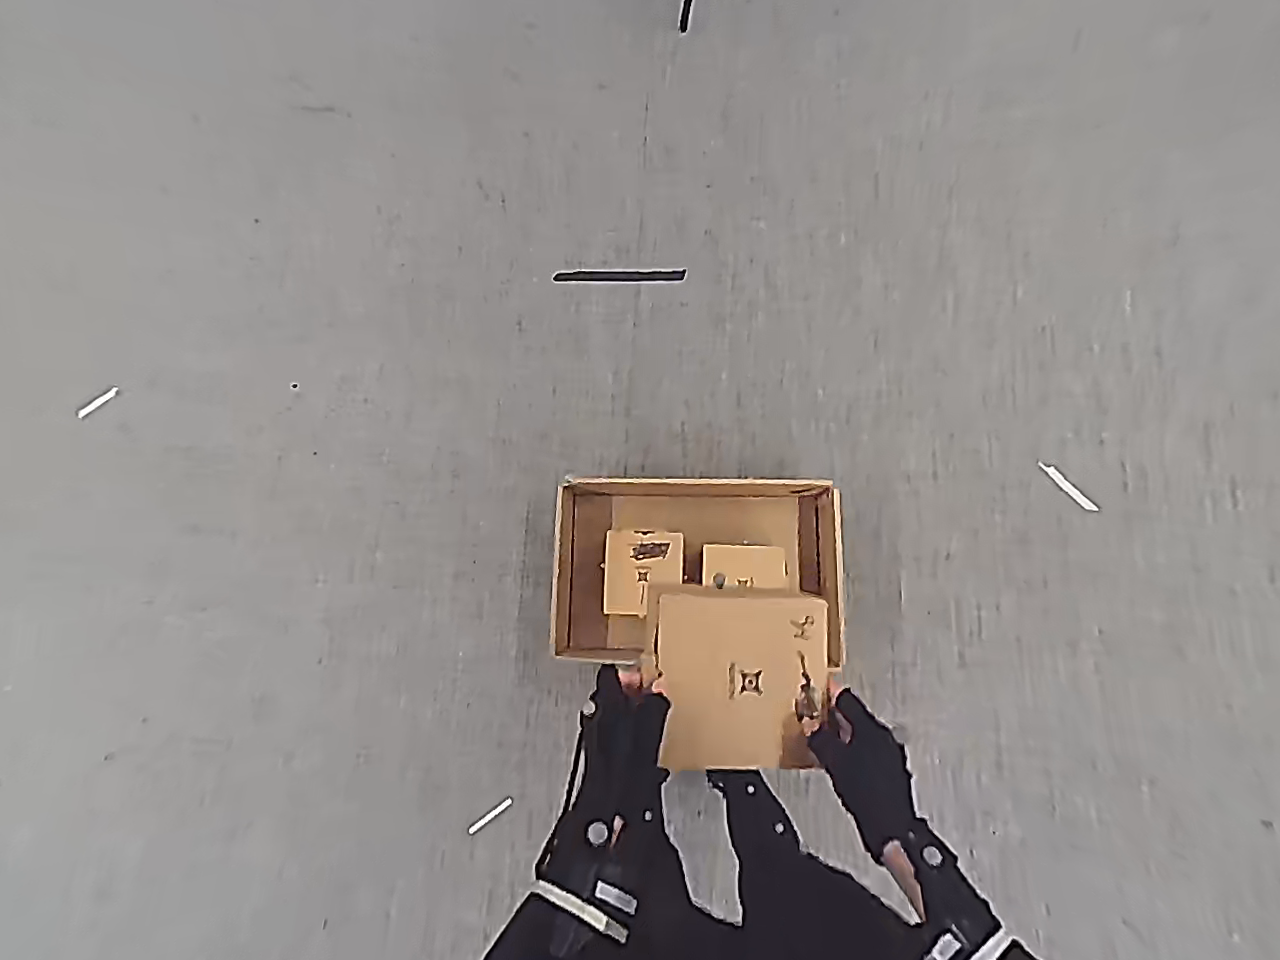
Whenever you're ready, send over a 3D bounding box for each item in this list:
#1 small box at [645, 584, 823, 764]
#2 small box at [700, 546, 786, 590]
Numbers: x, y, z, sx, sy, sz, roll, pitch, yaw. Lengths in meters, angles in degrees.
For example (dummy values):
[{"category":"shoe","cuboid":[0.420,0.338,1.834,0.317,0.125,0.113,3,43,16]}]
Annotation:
[{"category":"small box","cuboid":[0.096,0.209,0.623,0.179,0.176,0.168,2,81,-1]},{"category":"small box","cuboid":[0.223,0.237,1.200,0.179,0.176,0.168,0,78,7]}]
